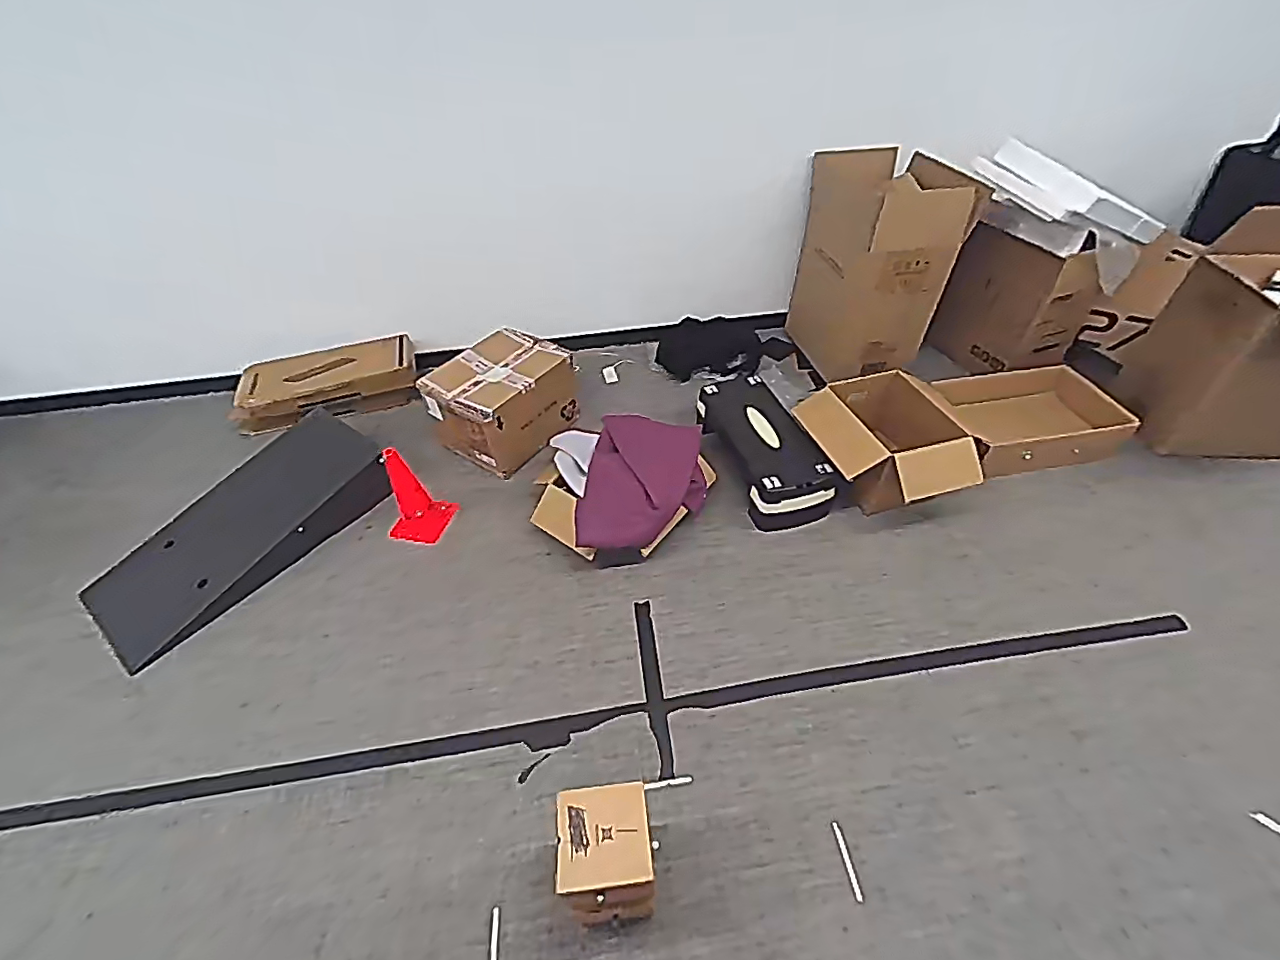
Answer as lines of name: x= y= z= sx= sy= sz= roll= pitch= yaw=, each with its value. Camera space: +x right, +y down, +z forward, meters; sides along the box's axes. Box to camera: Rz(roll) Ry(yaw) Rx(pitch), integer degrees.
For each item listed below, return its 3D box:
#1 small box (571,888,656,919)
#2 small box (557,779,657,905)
small box: x=-0.056 y=0.835 z=1.176 sx=0.168 sy=0.176 sz=0.179 roll=-6 pitch=46 yaw=-2
small box: x=-0.063 y=0.713 z=1.063 sx=0.179 sy=0.176 sz=0.168 roll=-6 pitch=45 yaw=-3
